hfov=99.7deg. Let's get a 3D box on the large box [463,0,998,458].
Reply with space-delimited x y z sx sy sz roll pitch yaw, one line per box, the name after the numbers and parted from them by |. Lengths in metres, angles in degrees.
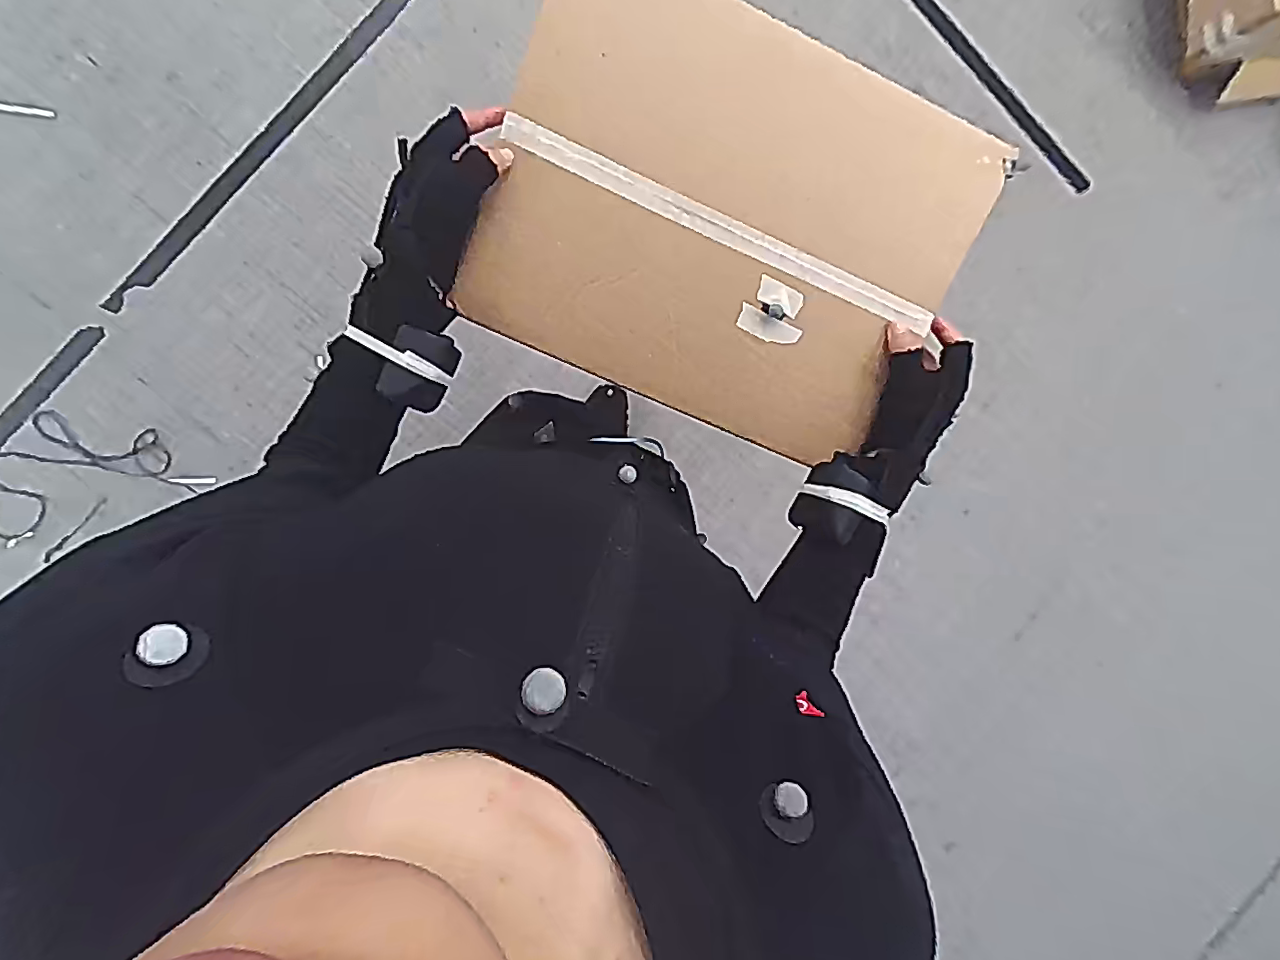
0.070 -0.263 0.625 0.408 0.320 0.320 22 103 -8 | large box
